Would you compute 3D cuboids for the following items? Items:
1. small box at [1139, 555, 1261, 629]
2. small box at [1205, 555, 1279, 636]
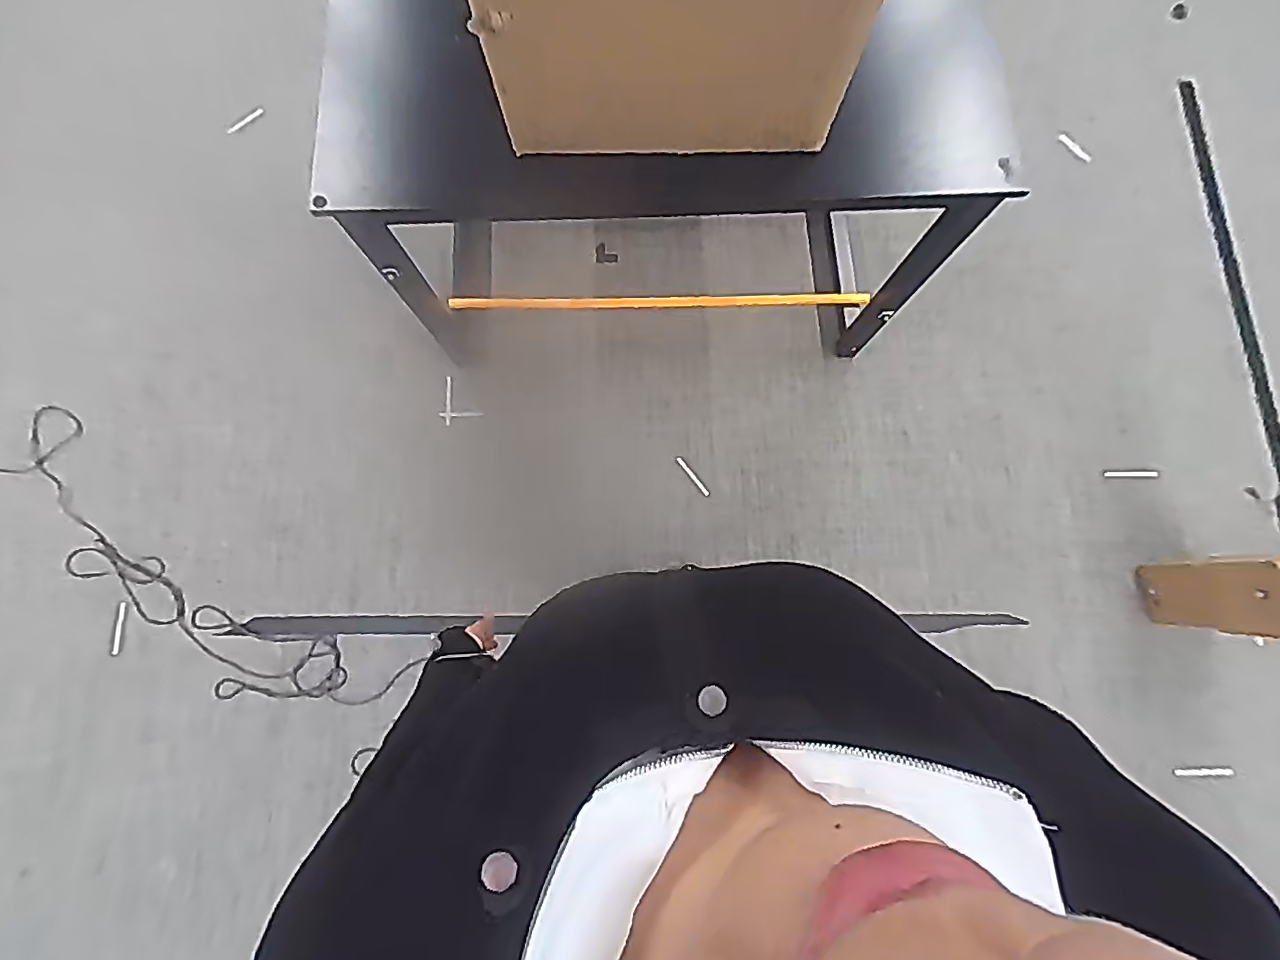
[{"bbox_3d":[1.491,0.291,1.424,0.179,0.176,0.168,-9,79,0],"label":"small box"},{"bbox_3d":[1.493,0.266,1.261,0.168,0.176,0.179,-6,80,-1],"label":"small box"}]
